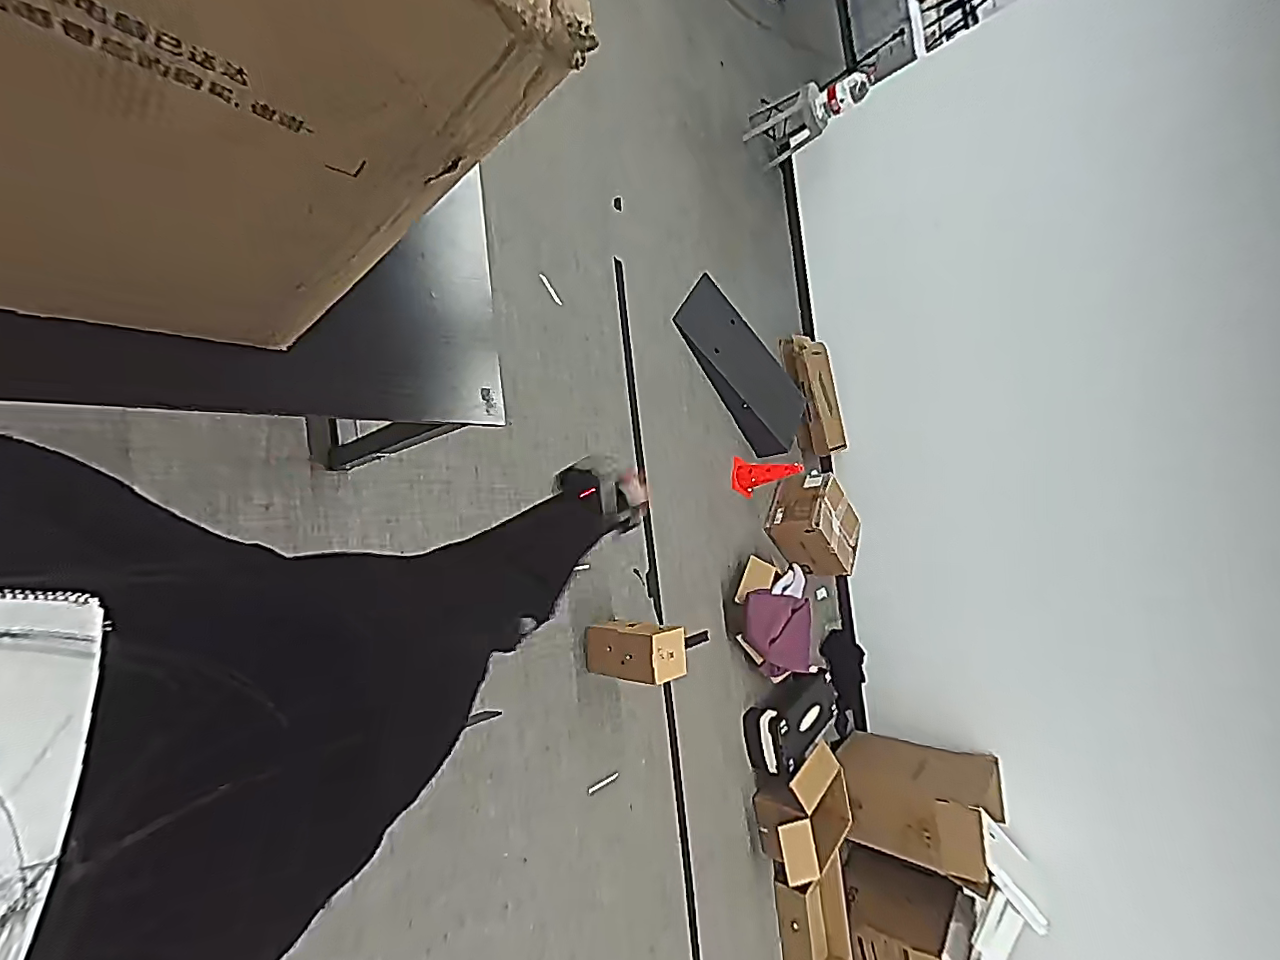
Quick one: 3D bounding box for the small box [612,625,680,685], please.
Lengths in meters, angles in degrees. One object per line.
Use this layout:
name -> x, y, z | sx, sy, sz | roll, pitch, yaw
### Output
small box -> 0.020, 0.615, 1.922 | 0.179, 0.176, 0.168 | 4, 80, -48

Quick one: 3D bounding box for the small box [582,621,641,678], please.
small box -> -0.106, 0.627, 2.027 | 0.168, 0.176, 0.179 | 4, 81, -48
